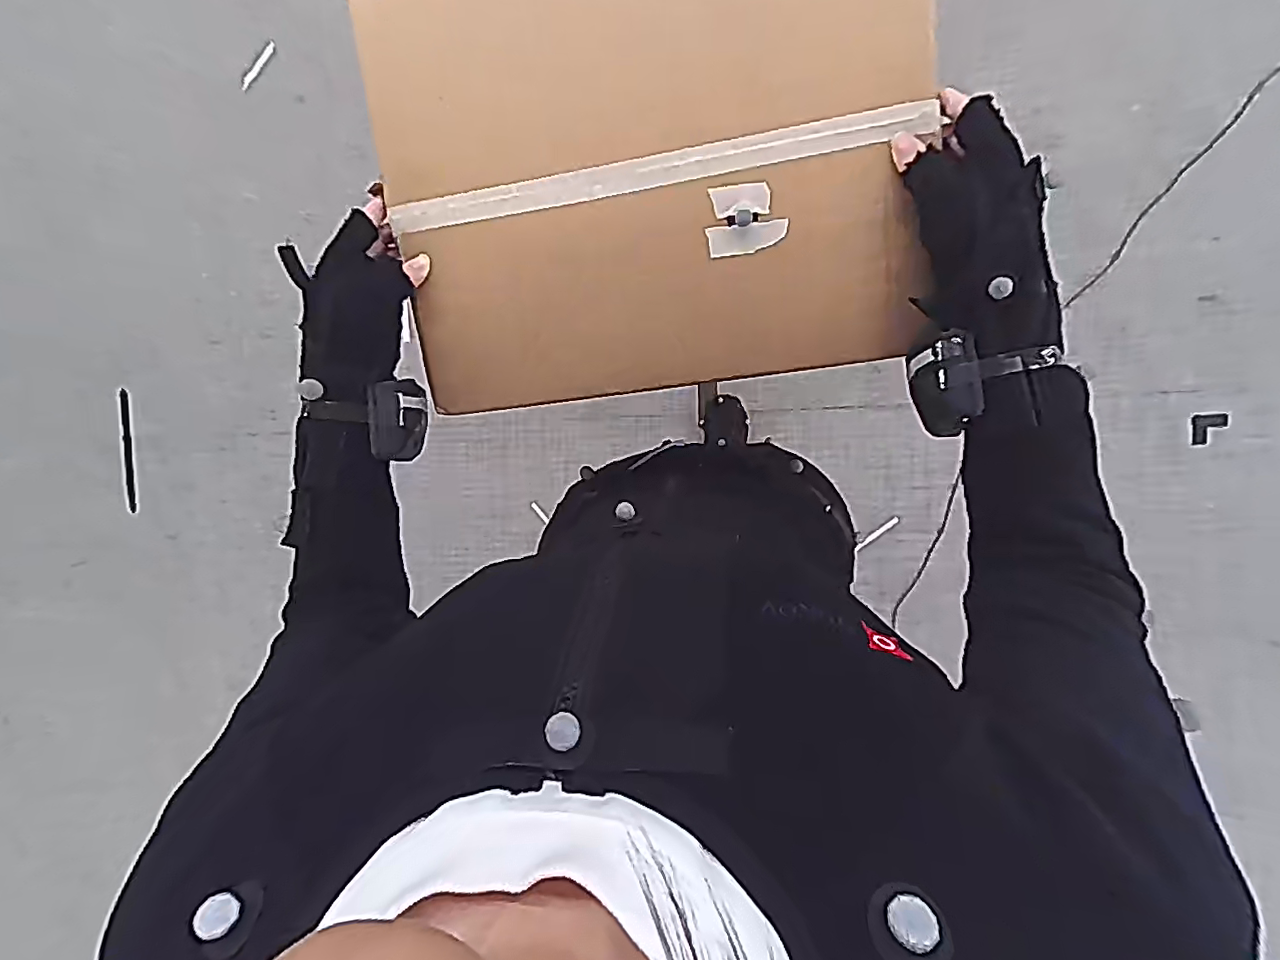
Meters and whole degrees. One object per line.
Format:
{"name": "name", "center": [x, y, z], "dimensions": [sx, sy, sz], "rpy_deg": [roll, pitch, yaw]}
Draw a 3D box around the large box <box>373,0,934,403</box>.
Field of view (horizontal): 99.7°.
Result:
{"name": "large box", "center": [0.025, -0.270, 0.557], "dimensions": [0.408, 0.320, 0.320], "rpy_deg": [-6, 103, 8]}
